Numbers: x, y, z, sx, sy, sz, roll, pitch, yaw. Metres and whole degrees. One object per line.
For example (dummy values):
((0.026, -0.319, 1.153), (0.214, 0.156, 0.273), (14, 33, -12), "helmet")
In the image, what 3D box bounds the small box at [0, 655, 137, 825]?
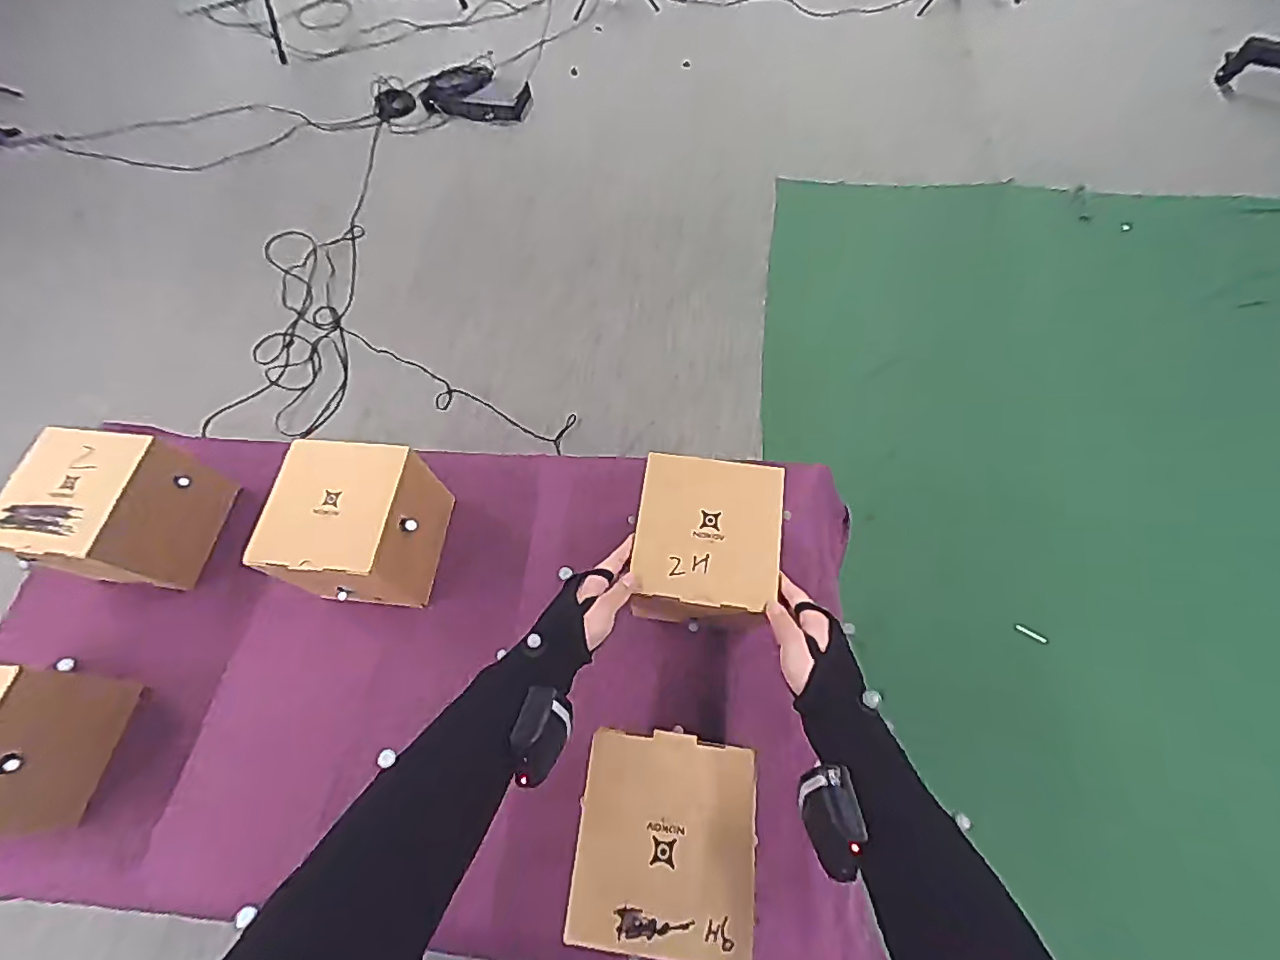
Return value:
((-0.778, 0.306, 0.649), (0.168, 0.176, 0.179), (4, 64, 5), "small box")

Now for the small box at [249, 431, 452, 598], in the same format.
((-0.380, 0.053, 0.752), (0.168, 0.176, 0.179), (4, 66, 5), "small box")

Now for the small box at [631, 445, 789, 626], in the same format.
((0.086, 0.077, 0.693), (0.168, 0.176, 0.179), (8, 69, 6), "small box")

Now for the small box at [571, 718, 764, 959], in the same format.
((0.034, 0.365, 0.576), (0.168, 0.176, 0.179), (5, 63, 6), "small box")
